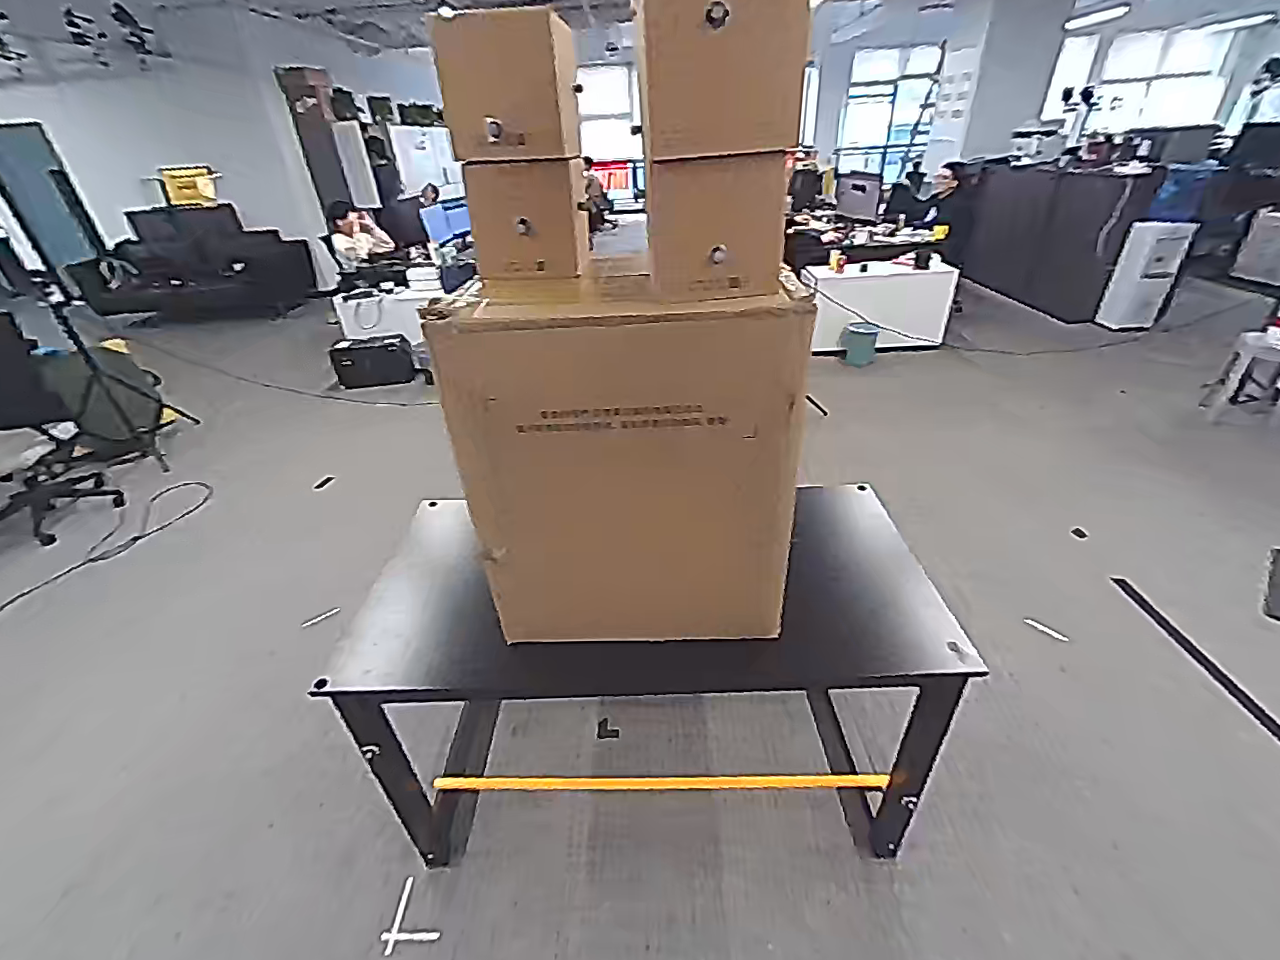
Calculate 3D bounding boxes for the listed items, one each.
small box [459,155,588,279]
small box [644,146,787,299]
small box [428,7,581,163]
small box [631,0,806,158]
[{"bbox_3d":[-0.179,-0.435,0.896,0.168,0.176,0.179,-1,32,2],"label":"small box"},{"bbox_3d":[0.094,-0.356,0.742,0.168,0.176,0.179,-5,33,1],"label":"small box"},{"bbox_3d":[-0.183,-0.566,0.796,0.168,0.176,0.179,-1,32,4],"label":"small box"},{"bbox_3d":[0.087,-0.481,0.633,0.179,0.176,0.168,-5,33,-1],"label":"small box"}]
